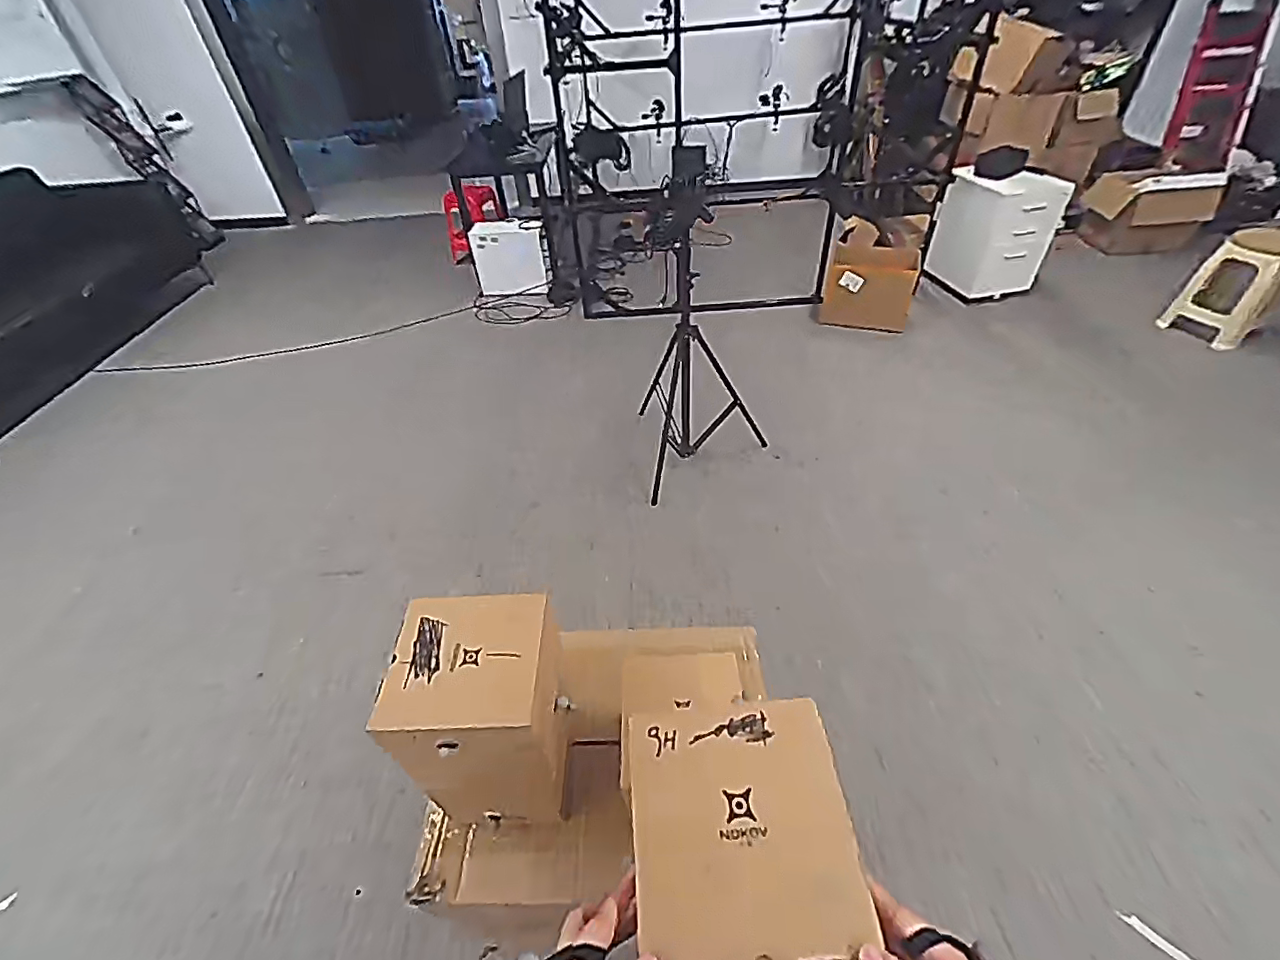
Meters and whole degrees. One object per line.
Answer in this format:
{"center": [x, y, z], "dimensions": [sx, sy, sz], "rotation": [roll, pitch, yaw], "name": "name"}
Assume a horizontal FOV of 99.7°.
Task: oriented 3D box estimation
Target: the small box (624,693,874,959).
{"center": [0.078, 0.312, 0.477], "dimensions": [0.168, 0.176, 0.179], "rotation": [-6, 47, -1], "name": "small box"}

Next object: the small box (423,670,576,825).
{"center": [-0.190, 0.384, 0.794], "dimensions": [0.168, 0.176, 0.179], "rotation": [-3, 44, 2], "name": "small box"}

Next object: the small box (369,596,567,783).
{"center": [-0.197, 0.266, 0.680], "dimensions": [0.179, 0.176, 0.168], "rotation": [-3, 43, 1], "name": "small box"}

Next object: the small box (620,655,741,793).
{"center": [0.062, 0.374, 0.777], "dimensions": [0.168, 0.176, 0.179], "rotation": [-4, 43, 3], "name": "small box"}
